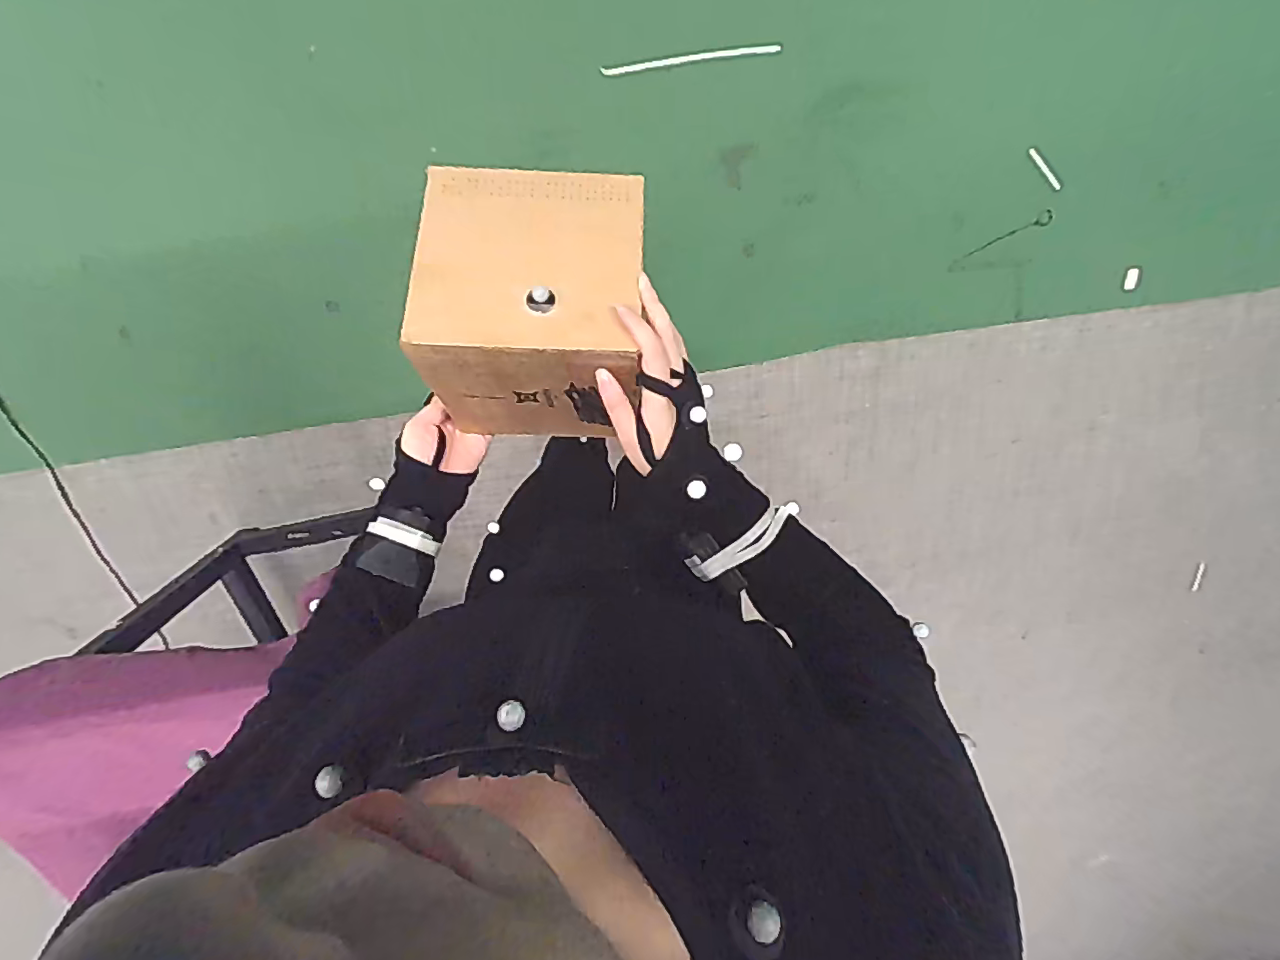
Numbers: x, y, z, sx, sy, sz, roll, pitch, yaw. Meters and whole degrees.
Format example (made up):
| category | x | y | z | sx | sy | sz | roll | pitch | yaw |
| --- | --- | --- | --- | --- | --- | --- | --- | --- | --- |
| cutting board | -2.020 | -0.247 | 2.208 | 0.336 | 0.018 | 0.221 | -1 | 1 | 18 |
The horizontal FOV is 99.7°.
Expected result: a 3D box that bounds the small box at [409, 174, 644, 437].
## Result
| category | x | y | z | sx | sy | sz | roll | pitch | yaw |
| --- | --- | --- | --- | --- | --- | --- | --- | --- | --- |
| small box | -0.087 | -0.150 | 0.496 | 0.179 | 0.168 | 0.176 | 2 | 71 | -2 |
